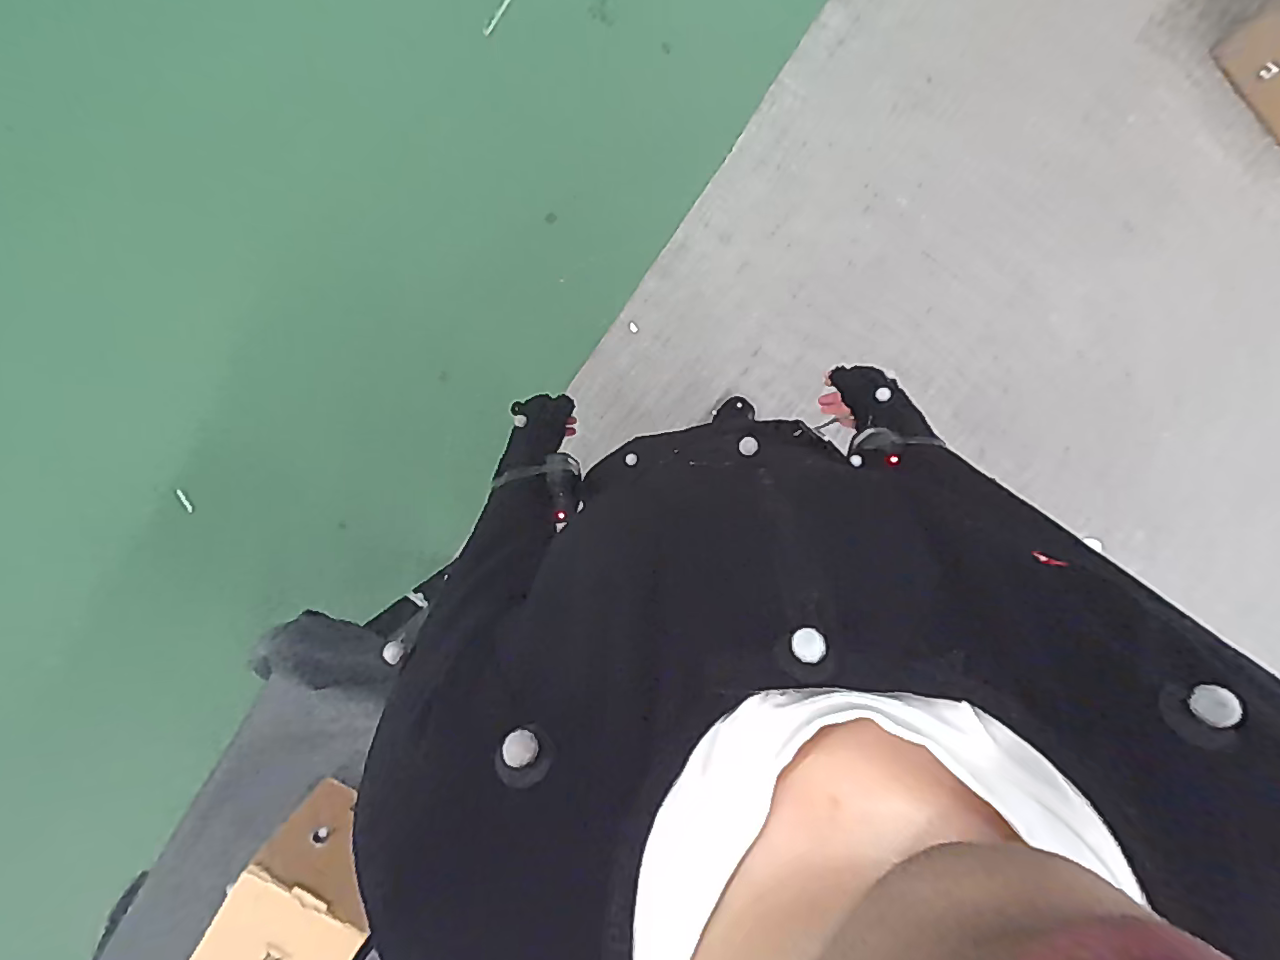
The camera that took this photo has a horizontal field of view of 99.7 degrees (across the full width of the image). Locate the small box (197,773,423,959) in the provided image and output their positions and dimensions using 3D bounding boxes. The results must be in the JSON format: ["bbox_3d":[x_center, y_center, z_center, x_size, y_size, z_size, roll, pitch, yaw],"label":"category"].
[{"bbox_3d":[-0.422,0.543,0.725,0.168,0.176,0.179,31,98,-2],"label":"small box"}]
